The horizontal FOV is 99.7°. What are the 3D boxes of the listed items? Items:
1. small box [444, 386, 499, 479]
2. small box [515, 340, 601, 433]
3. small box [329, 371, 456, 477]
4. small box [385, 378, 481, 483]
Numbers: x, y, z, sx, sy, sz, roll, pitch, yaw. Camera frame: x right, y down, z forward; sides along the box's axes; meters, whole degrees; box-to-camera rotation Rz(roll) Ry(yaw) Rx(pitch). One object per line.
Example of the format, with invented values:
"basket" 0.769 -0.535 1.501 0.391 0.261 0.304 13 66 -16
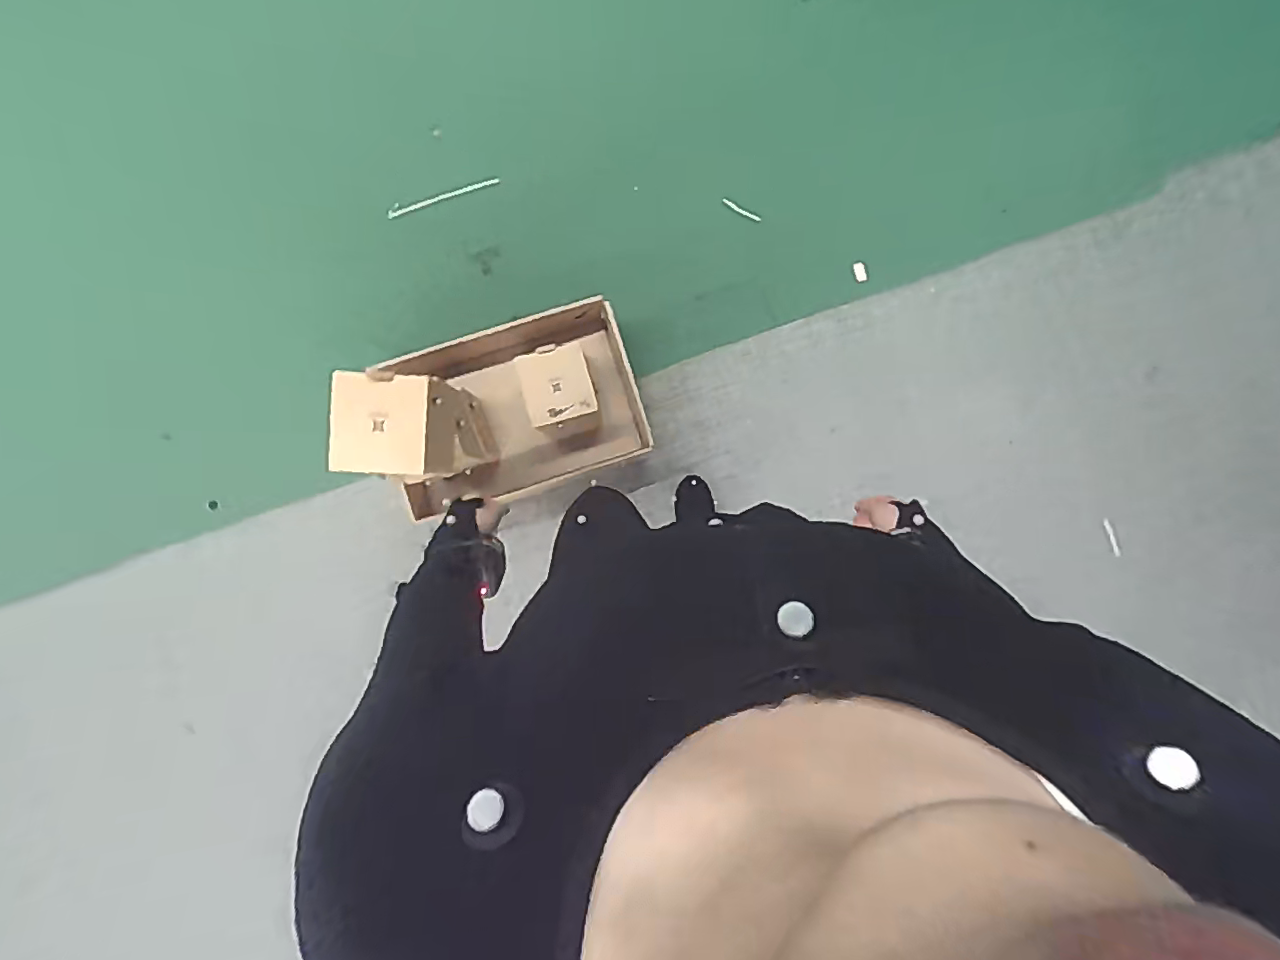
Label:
"small box" -0.467 -0.110 1.332 0.168 0.176 0.179 -20 90 -2
"small box" -0.198 -0.226 1.345 0.168 0.176 0.179 -15 91 -1
"small box" -0.450 -0.095 1.006 0.168 0.176 0.179 2 89 -3
"small box" -0.462 -0.100 1.169 0.168 0.176 0.179 -19 90 -3
